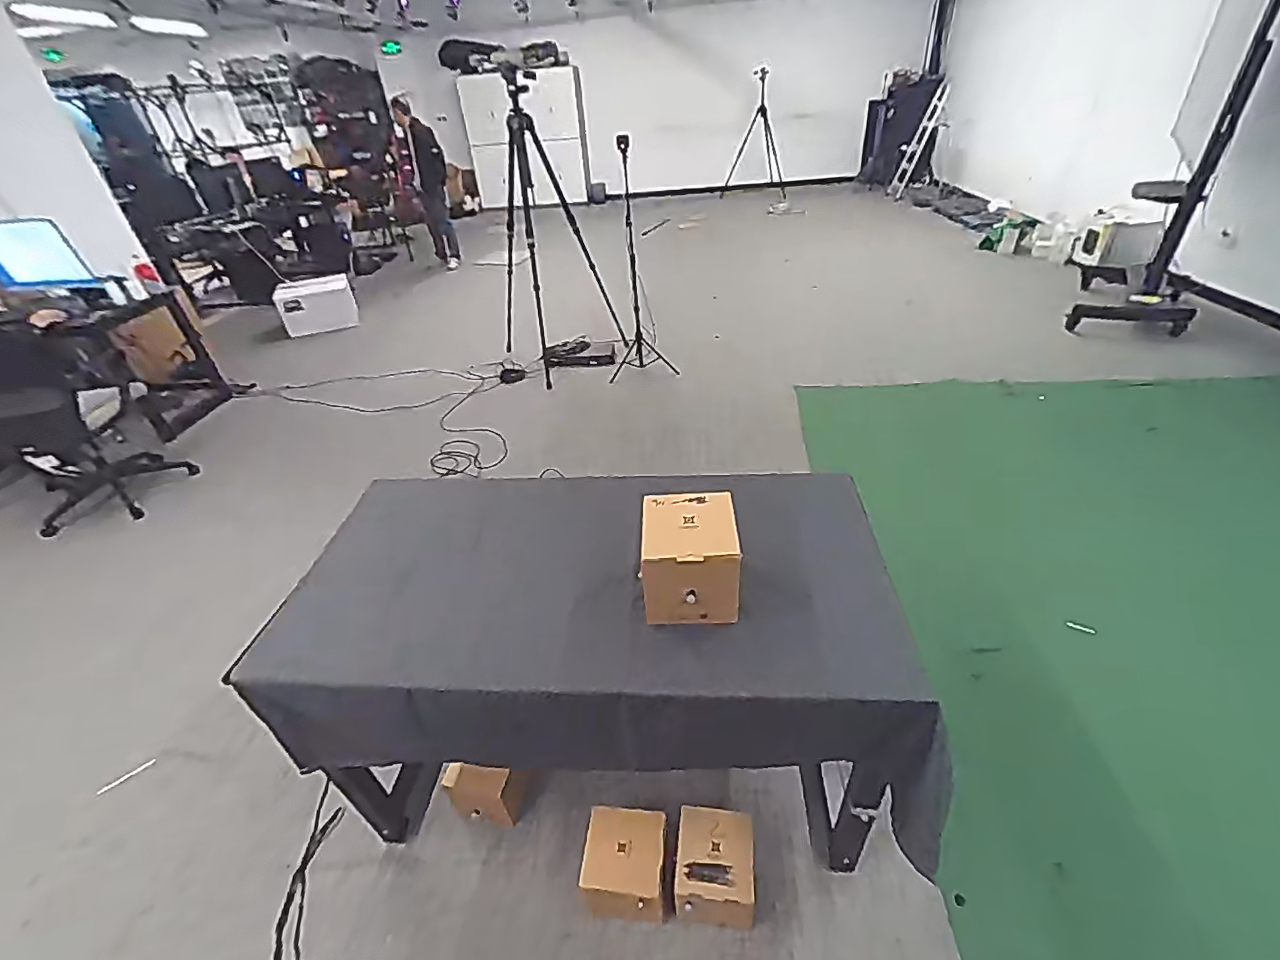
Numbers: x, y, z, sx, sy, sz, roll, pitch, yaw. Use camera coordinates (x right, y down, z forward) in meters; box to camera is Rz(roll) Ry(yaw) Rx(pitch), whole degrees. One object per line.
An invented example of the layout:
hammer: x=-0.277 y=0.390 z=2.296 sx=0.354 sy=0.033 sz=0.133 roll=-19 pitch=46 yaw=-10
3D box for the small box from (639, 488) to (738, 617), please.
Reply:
small box: x=0.090 y=0.136 z=0.993 sx=0.168 sy=0.176 sz=0.179 roll=-2 pitch=36 yaw=4

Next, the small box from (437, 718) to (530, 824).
small box: x=-0.401 y=0.764 z=1.423 sx=0.168 sy=0.176 sz=0.179 roll=4 pitch=36 yaw=13
